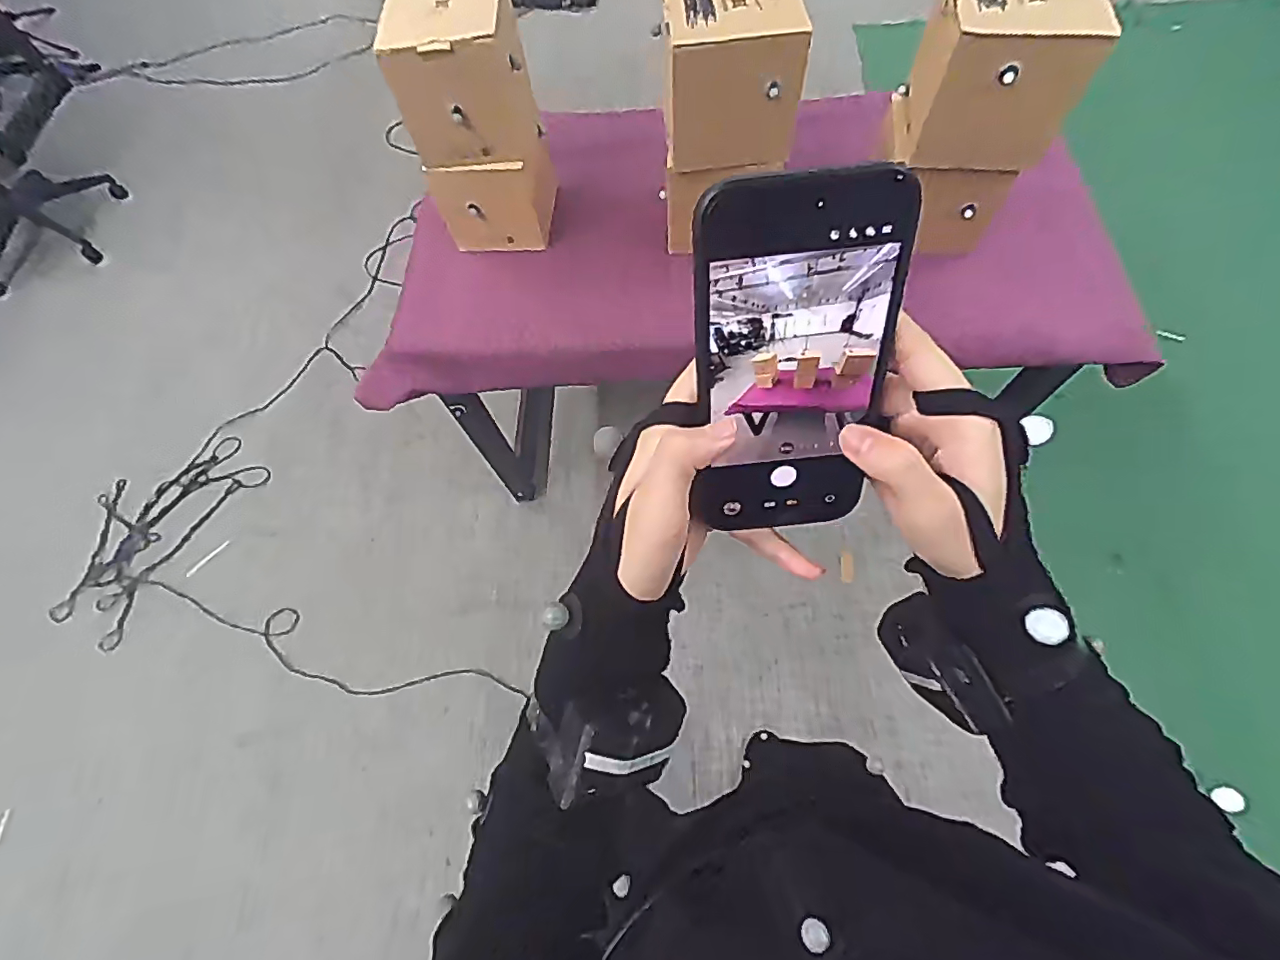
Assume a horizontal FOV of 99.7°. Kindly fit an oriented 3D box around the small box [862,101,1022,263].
[{"bbox_3d":[0.479,-0.479,0.882,0.179,0.176,0.168,7,66,8],"label":"small box"}]

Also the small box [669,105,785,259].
[{"bbox_3d":[0.141,-0.498,0.918,0.179,0.176,0.168,1,65,5],"label":"small box"}]

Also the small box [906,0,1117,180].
[{"bbox_3d":[0.474,-0.533,0.727,0.179,0.176,0.168,7,66,7],"label":"small box"}]

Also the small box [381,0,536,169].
[{"bbox_3d":[-0.259,-0.599,0.817,0.168,0.176,0.179,-3,66,3],"label":"small box"}]

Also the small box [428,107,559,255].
[{"bbox_3d":[-0.247,-0.523,0.963,0.168,0.176,0.179,1,65,5],"label":"small box"}]
